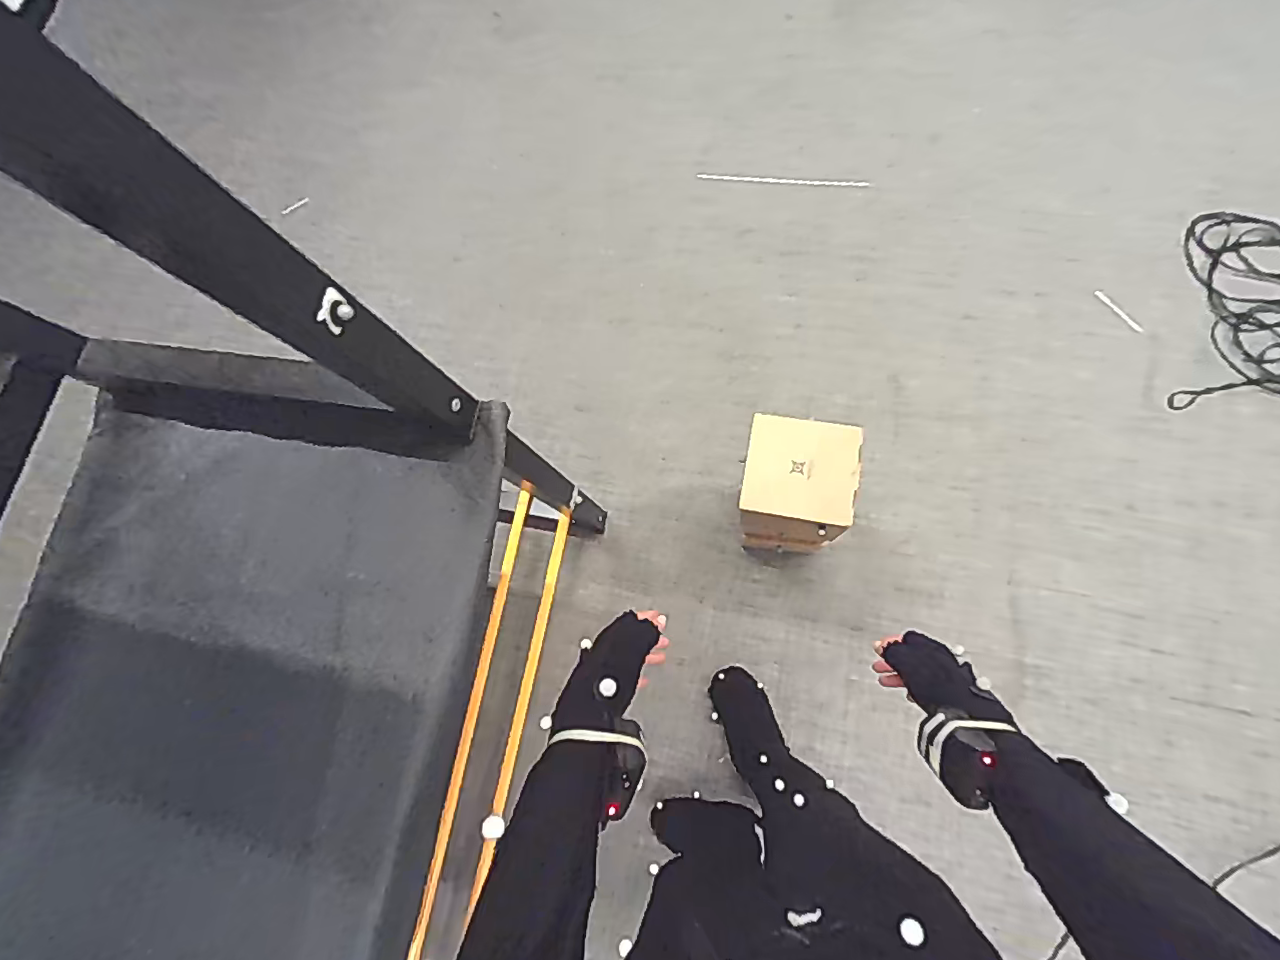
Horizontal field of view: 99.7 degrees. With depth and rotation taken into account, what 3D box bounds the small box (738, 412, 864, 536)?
[{"bbox_3d":[0.267,-0.003,0.931,0.179,0.176,0.168,9,79,11],"label":"small box"}]
